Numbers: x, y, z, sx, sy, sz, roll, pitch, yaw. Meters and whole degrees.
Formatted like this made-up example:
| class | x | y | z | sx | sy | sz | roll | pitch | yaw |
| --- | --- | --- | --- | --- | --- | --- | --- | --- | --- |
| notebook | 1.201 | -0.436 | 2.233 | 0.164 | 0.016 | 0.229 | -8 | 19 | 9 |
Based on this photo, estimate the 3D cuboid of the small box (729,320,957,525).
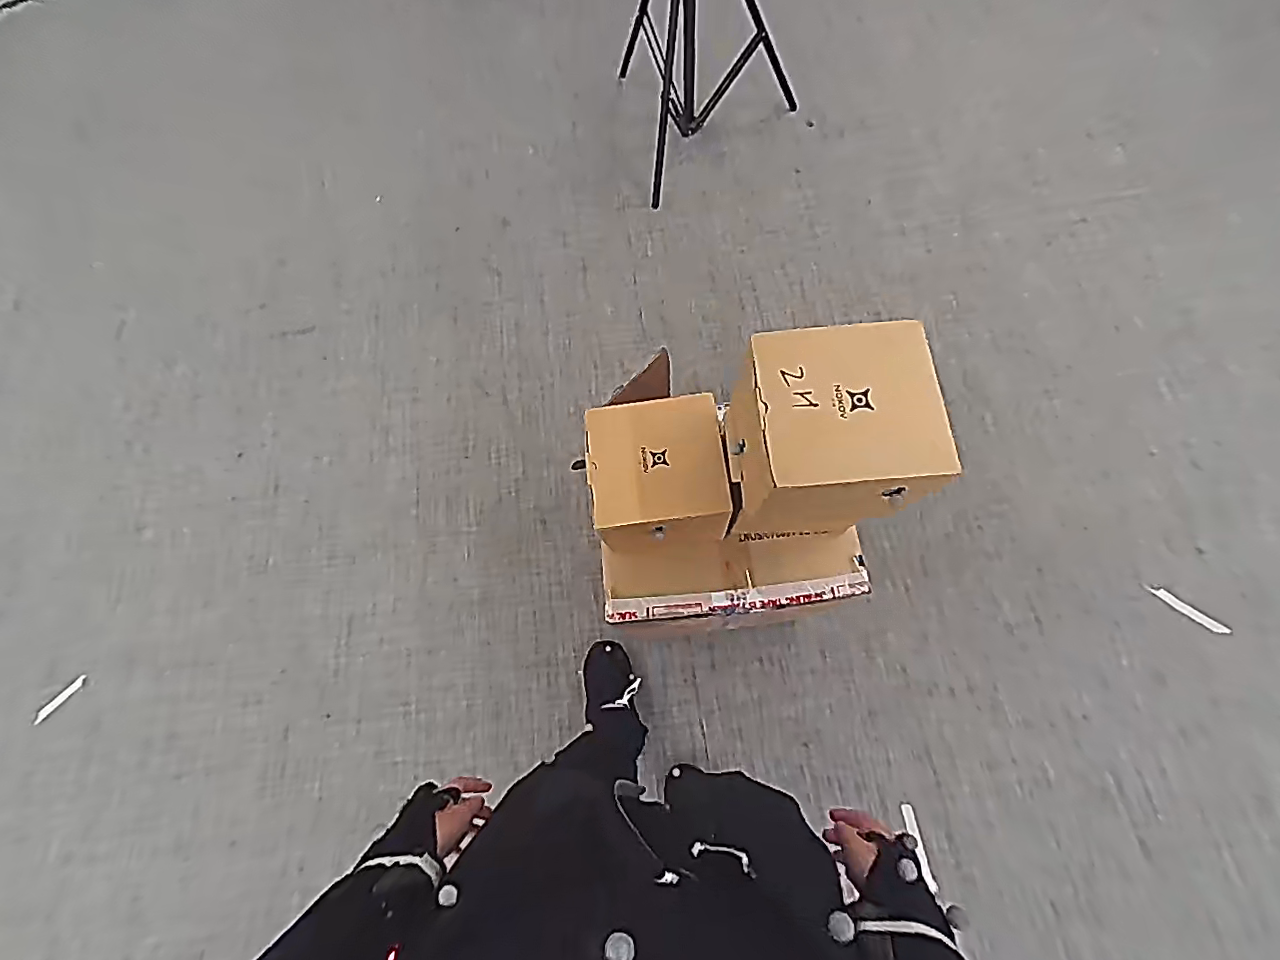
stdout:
| class | x | y | z | sx | sy | sz | roll | pitch | yaw |
| --- | --- | --- | --- | --- | --- | --- | --- | --- | --- |
| small box | 0.202 | -0.052 | 0.592 | 0.179 | 0.176 | 0.168 | -5 | 72 | 2 |

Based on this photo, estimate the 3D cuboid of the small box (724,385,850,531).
| class | x | y | z | sx | sy | sz | roll | pitch | yaw |
| --- | --- | --- | --- | --- | --- | --- | --- | --- | --- |
| small box | 0.213 | -0.025 | 0.756 | 0.179 | 0.176 | 0.168 | -2 | 72 | 2 |
